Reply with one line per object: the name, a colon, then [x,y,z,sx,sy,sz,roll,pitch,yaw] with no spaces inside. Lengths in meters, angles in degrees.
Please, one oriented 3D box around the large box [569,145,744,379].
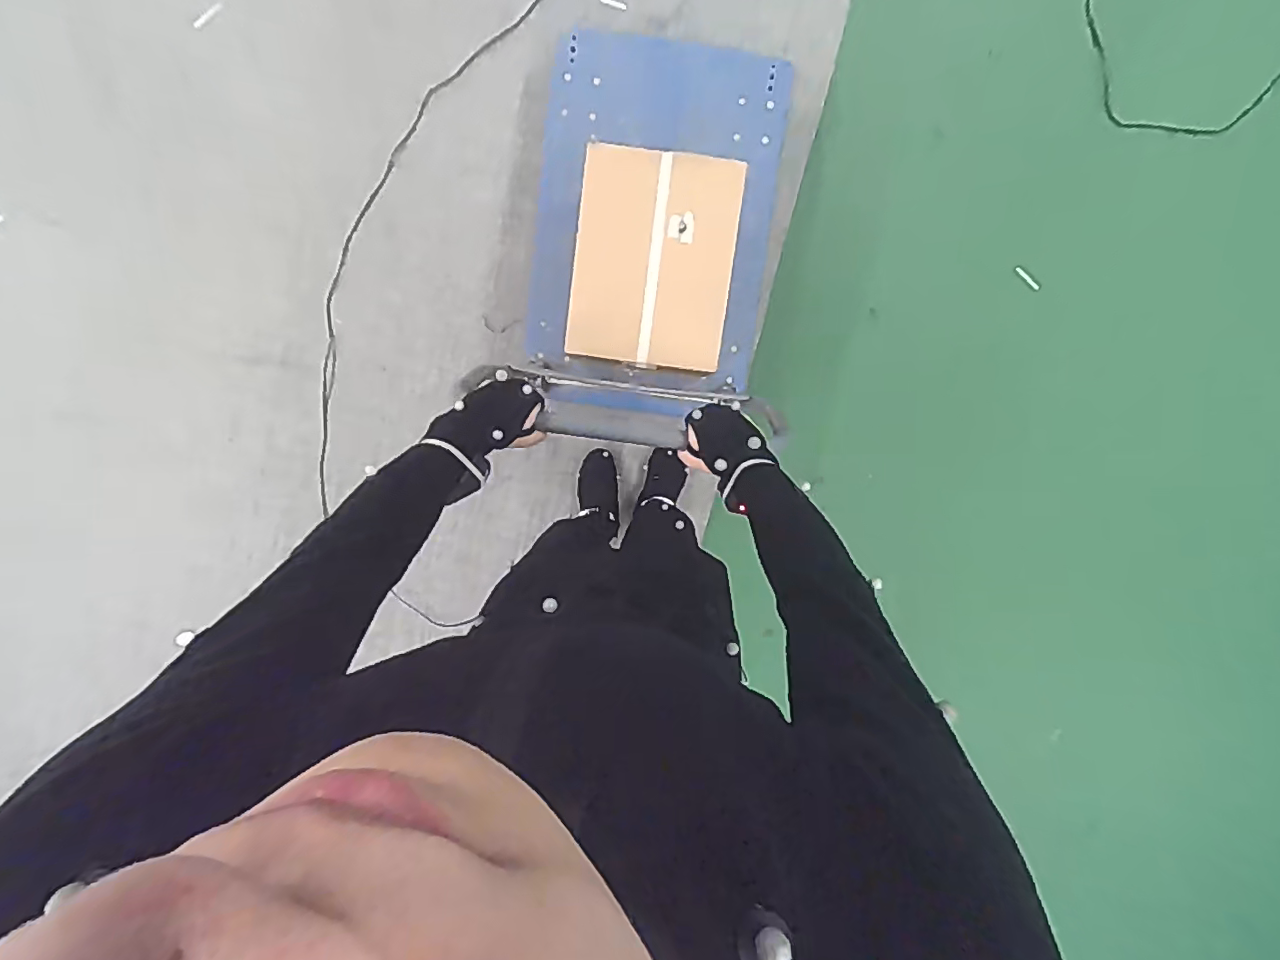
large box: [0.032,-0.451,1.214,0.320,0.320,0.408,7,97,-1]
